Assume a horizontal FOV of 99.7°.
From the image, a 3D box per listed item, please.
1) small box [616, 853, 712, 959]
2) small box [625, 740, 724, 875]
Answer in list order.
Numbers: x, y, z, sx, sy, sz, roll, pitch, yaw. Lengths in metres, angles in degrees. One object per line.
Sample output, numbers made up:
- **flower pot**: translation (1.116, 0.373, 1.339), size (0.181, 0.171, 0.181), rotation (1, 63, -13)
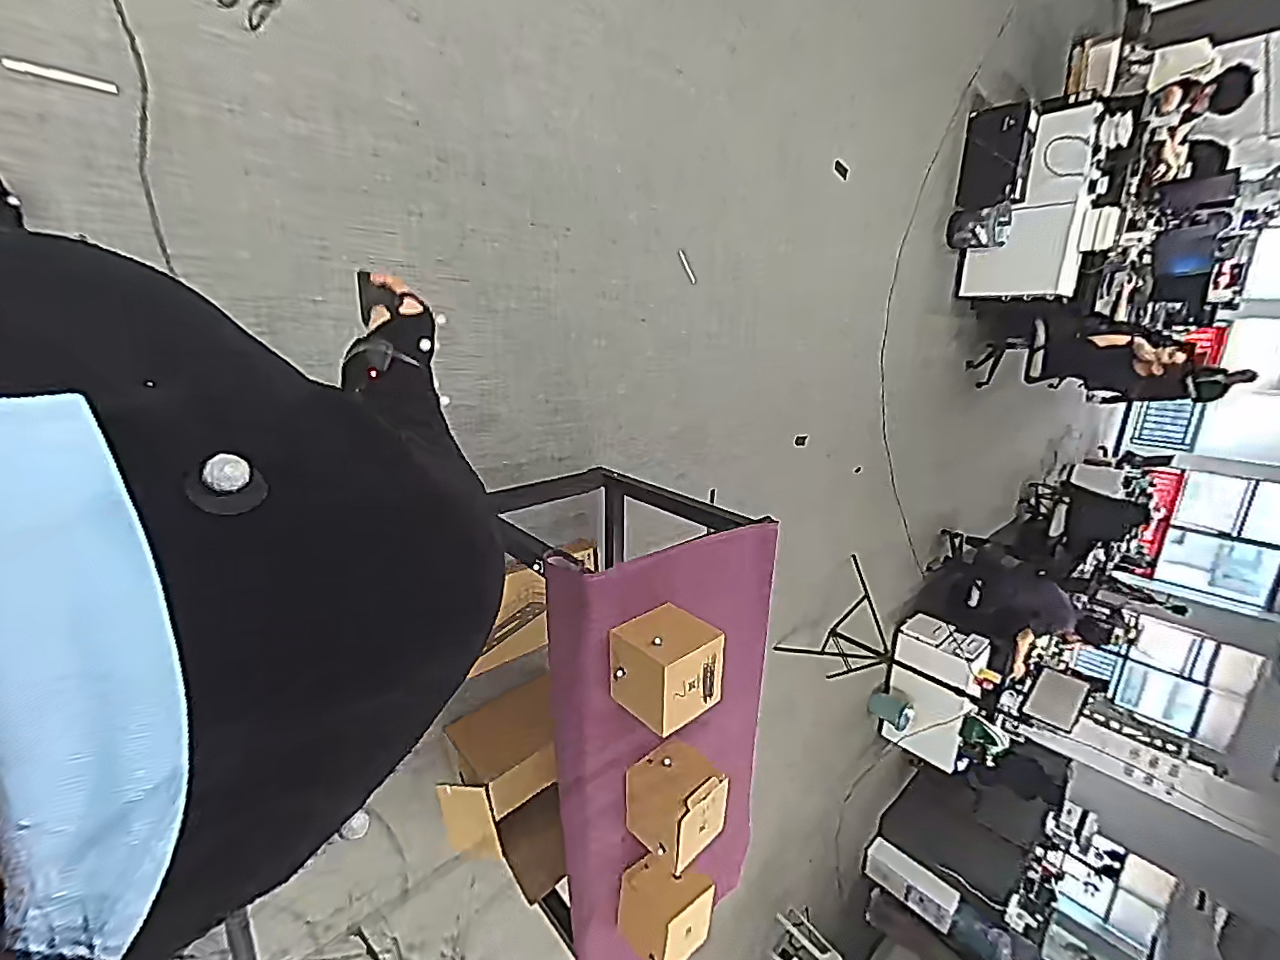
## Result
- **small box**: translation (0.056, 1.071, 1.357), size (0.168, 0.176, 0.179), rotation (-6, 107, -42)
- **small box**: translation (0.077, 0.763, 1.279), size (0.168, 0.176, 0.179), rotation (-16, 113, -42)
